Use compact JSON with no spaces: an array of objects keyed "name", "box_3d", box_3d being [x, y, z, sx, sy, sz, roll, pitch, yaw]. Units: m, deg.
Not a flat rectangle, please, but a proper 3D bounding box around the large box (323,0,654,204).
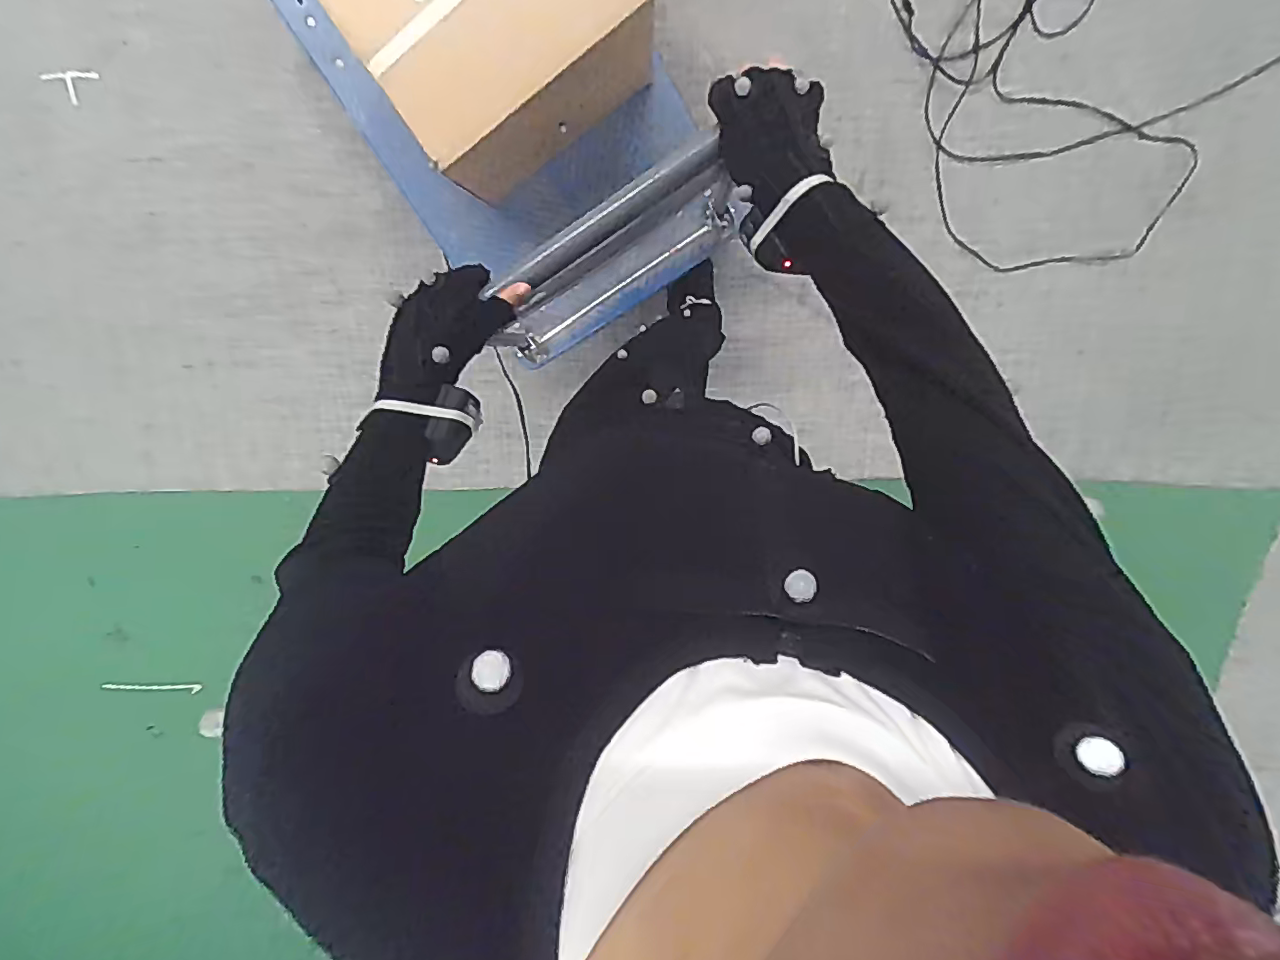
[{"name":"large box","box_3d":[-0.223,-0.757,0.927,0.408,0.320,0.320,-33,104,11]}]
